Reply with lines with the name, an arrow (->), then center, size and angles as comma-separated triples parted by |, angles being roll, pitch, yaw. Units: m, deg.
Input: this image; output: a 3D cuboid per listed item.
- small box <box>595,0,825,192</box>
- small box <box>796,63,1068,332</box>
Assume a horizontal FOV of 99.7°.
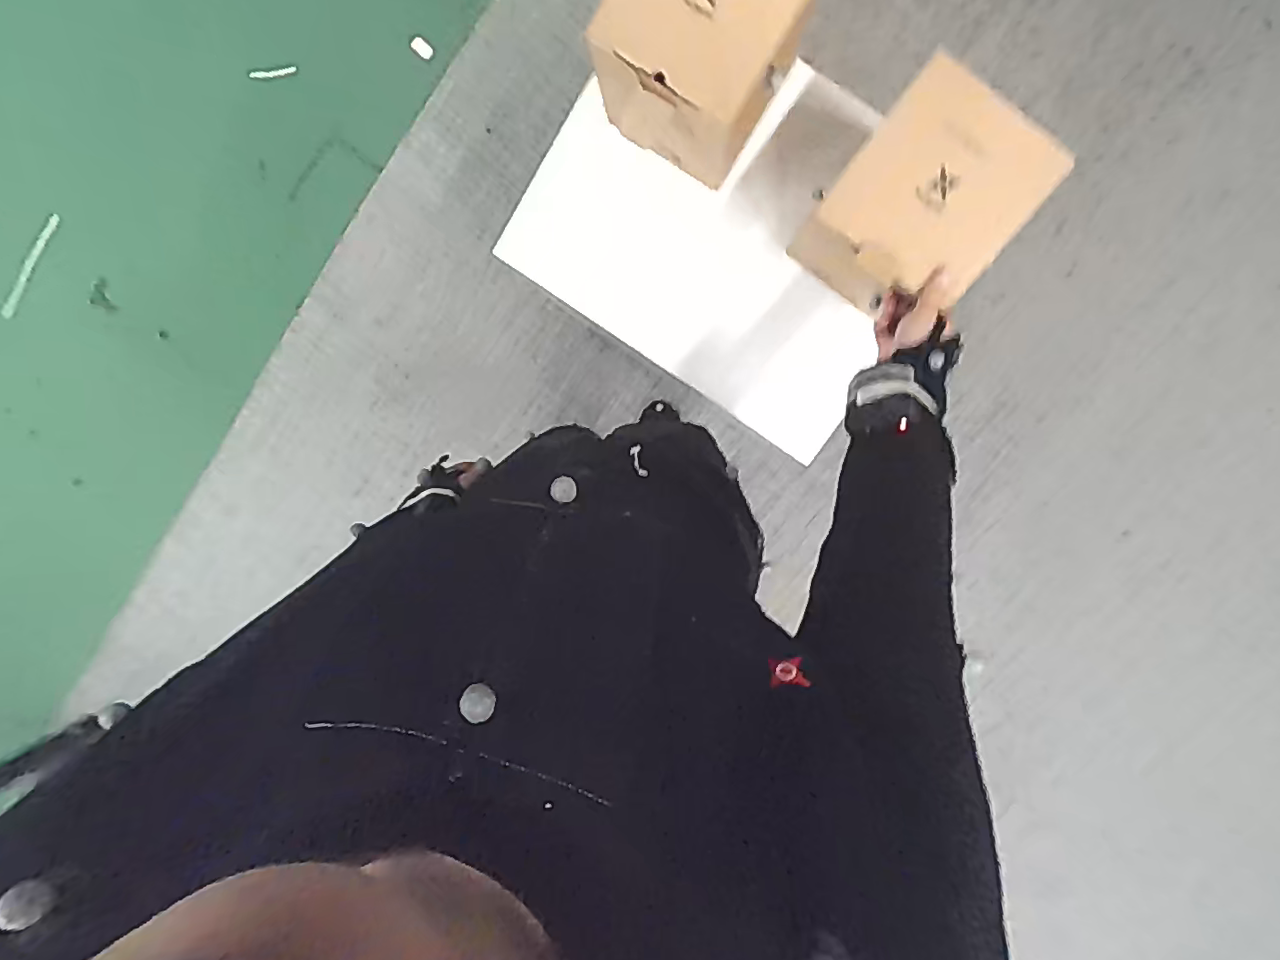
small box -> 0.073, -0.460, 0.589 | 0.168, 0.176, 0.179 | 33, 100, -2
small box -> 0.292, -0.282, 0.594 | 0.168, 0.176, 0.179 | 38, 101, -2
